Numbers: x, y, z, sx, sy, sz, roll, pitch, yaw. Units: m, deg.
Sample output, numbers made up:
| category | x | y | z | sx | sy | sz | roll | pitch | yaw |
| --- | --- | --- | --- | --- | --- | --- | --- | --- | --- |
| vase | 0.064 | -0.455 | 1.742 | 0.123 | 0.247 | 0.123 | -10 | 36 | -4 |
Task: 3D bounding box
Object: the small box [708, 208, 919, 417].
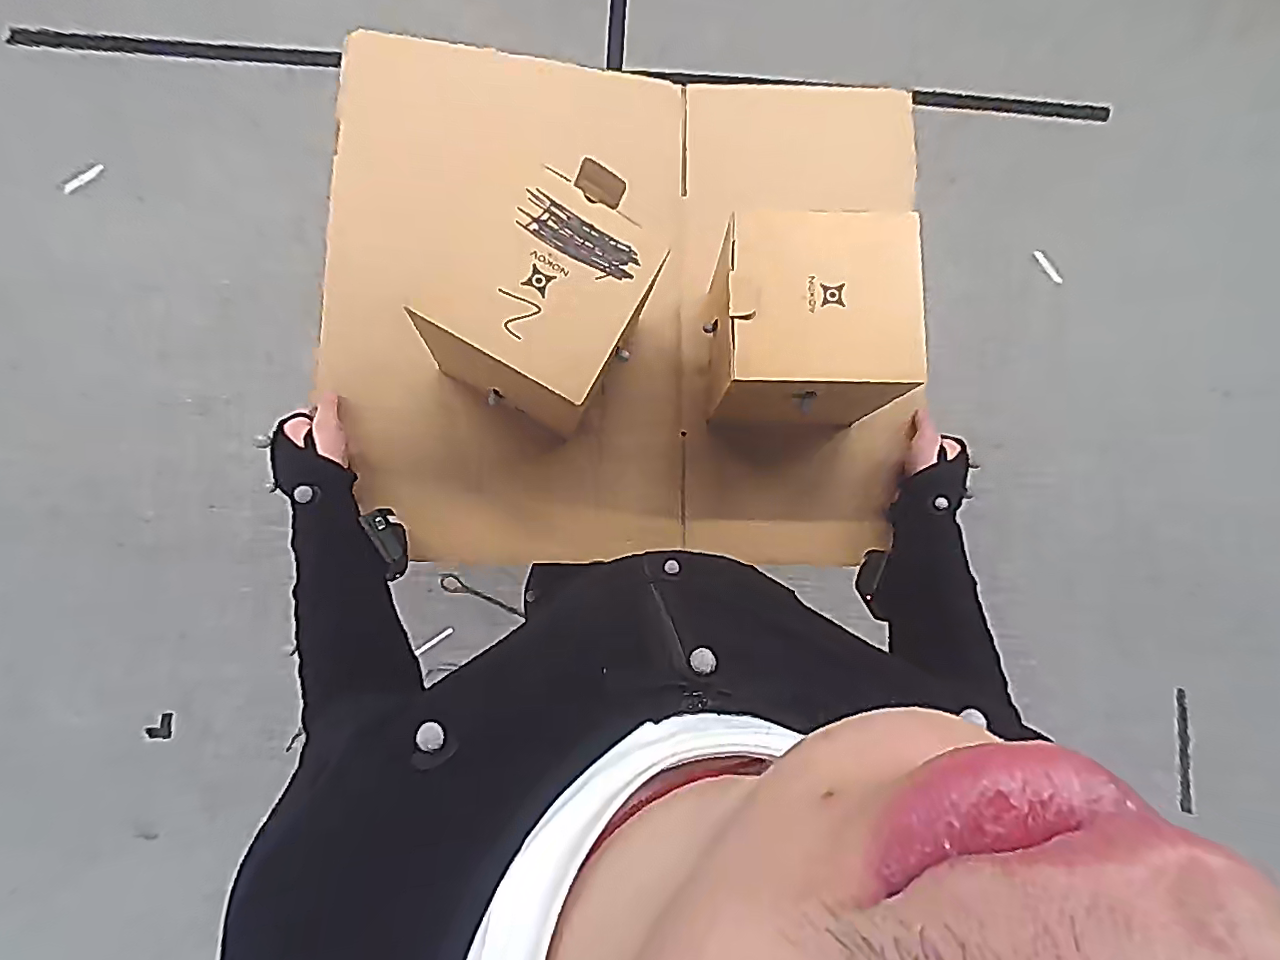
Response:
| category | x | y | z | sx | sy | sz | roll | pitch | yaw |
| --- | --- | --- | --- | --- | --- | --- | --- | --- | --- |
| small box | 0.172 | -0.167 | 0.584 | 0.179 | 0.176 | 0.168 | 0 | 83 | 1 |
